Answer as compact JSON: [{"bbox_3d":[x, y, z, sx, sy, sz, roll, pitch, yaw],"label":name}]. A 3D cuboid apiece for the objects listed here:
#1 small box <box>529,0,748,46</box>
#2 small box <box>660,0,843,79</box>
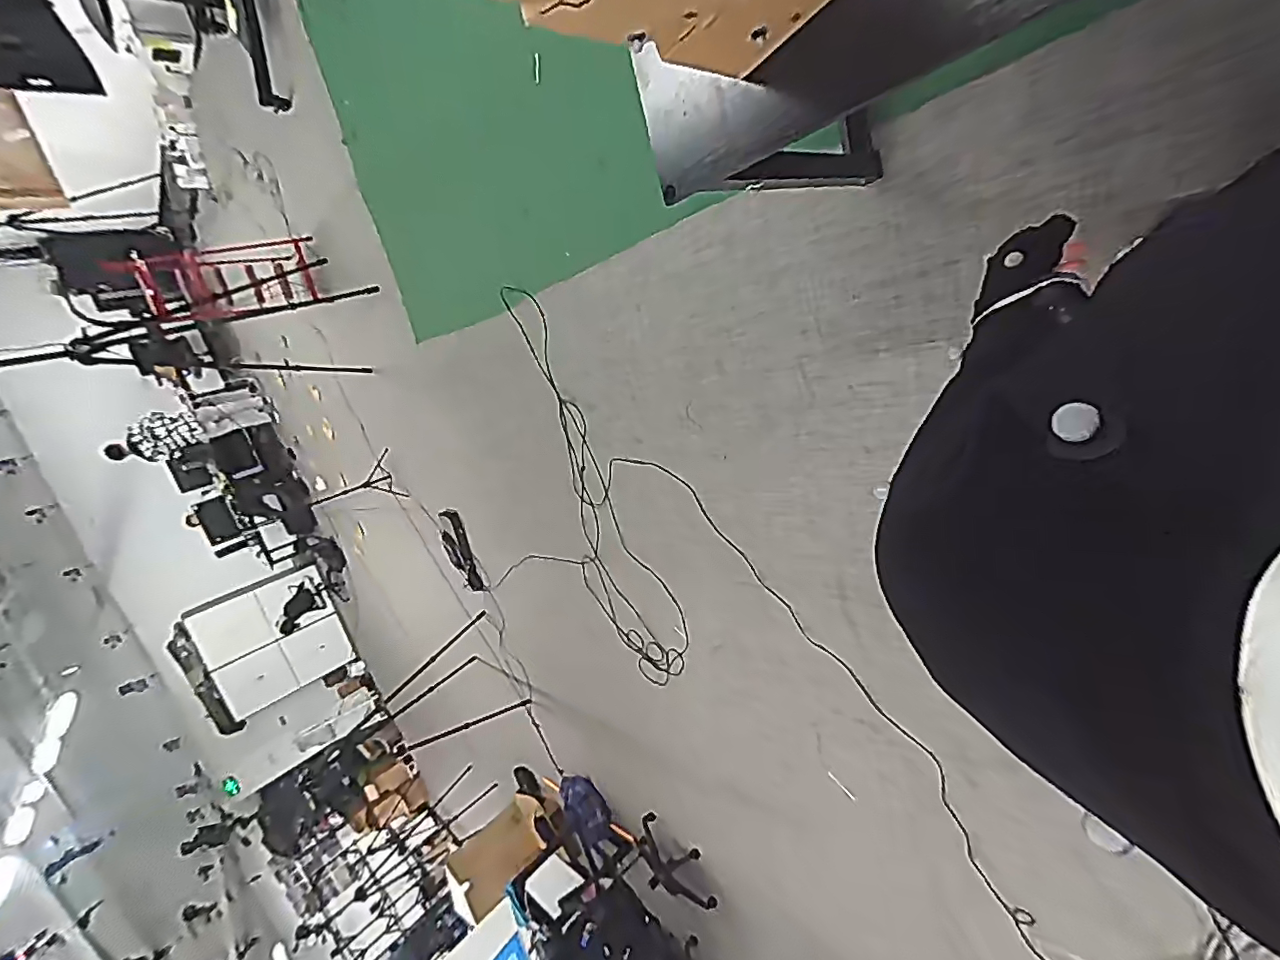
[{"bbox_3d":[-0.003,-0.552,0.522,0.168,0.176,0.179,16,121,41],"label":"small box"},{"bbox_3d":[0.113,-0.609,0.624,0.168,0.176,0.179,-13,102,49],"label":"small box"}]
